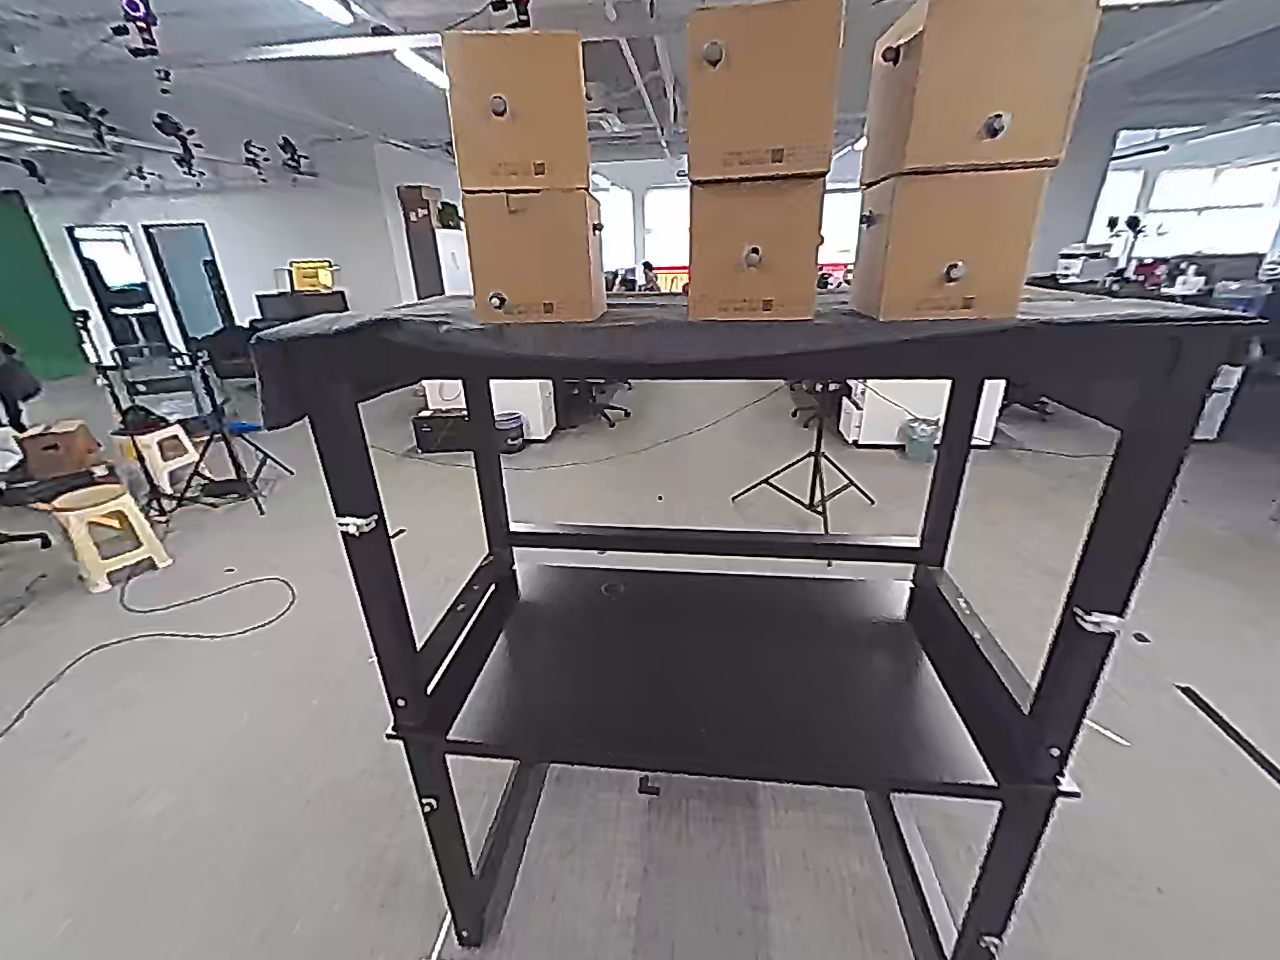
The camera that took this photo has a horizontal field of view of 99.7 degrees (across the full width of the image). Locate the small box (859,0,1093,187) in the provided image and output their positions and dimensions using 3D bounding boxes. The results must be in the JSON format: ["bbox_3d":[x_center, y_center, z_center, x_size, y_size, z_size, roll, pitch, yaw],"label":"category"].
[{"bbox_3d":[0.386,-0.458,0.649,0.179,0.176,0.168,1,22,4],"label":"small box"}]

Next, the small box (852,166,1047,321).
[{"bbox_3d":[0.392,-0.309,0.724,0.168,0.176,0.179,1,22,8],"label":"small box"}]

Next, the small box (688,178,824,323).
[{"bbox_3d":[0.157,-0.315,0.758,0.168,0.176,0.179,3,23,9],"label":"small box"}]

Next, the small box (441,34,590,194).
[{"bbox_3d":[-0.155,-0.475,0.741,0.168,0.176,0.179,-3,21,-4],"label":"small box"}]

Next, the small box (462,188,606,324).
[{"bbox_3d":[-0.142,-0.325,0.802,0.168,0.176,0.179,0,21,3],"label":"small box"}]
